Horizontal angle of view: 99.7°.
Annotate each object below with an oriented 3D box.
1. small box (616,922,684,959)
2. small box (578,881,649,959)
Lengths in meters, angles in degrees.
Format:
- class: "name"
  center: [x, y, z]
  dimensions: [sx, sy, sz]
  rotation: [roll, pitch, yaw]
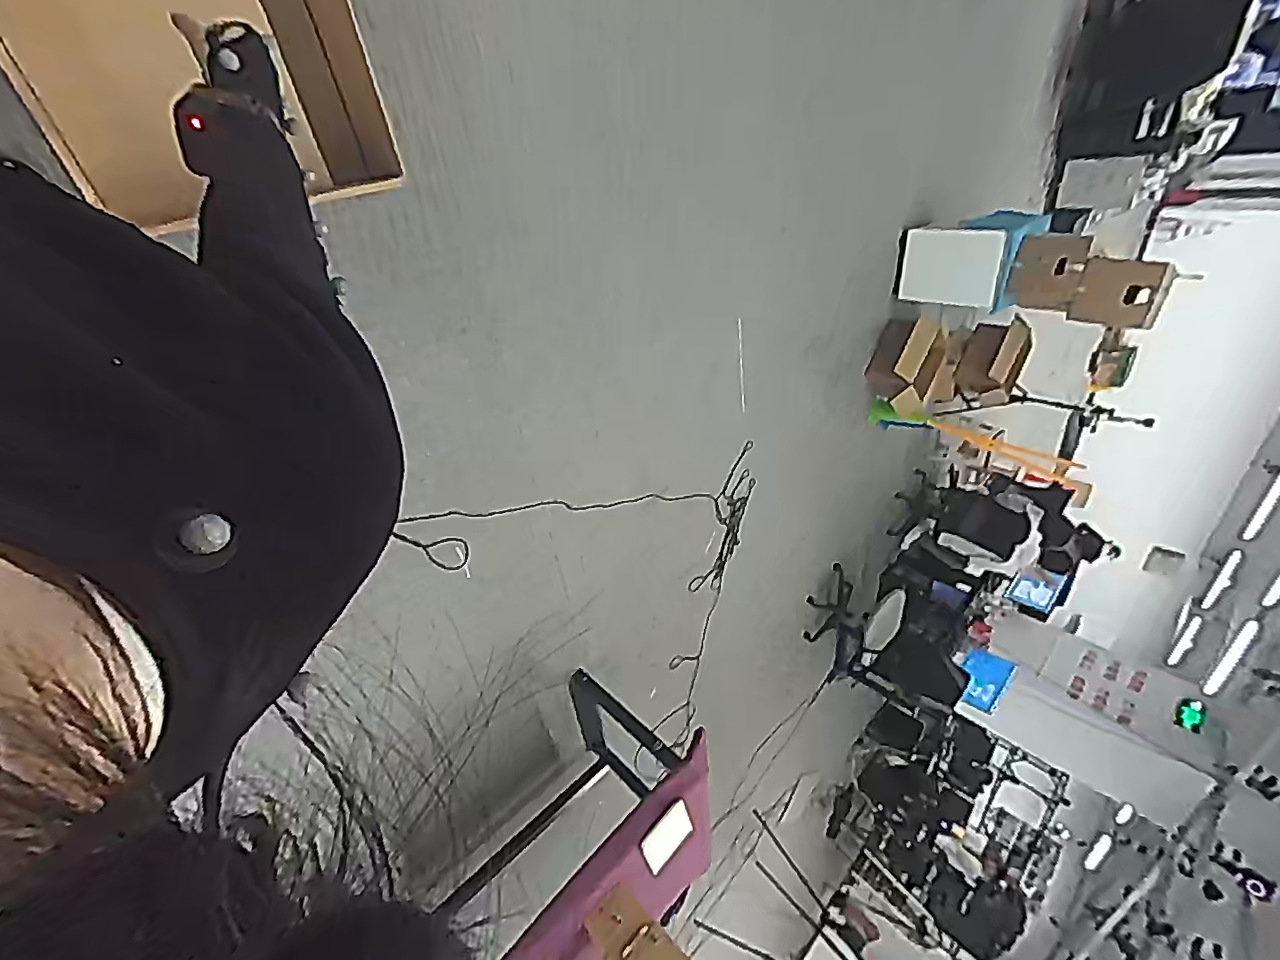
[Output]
- class: "small box"
  center: [0.032, 1.476, 1.606]
  dimensions: [0.168, 0.176, 0.179]
  rotation: [-30, 129, -34]
- class: "small box"
  center: [-0.080, 1.429, 1.717]
  dimensions: [0.168, 0.176, 0.179]
  rotation: [-30, 128, -33]
